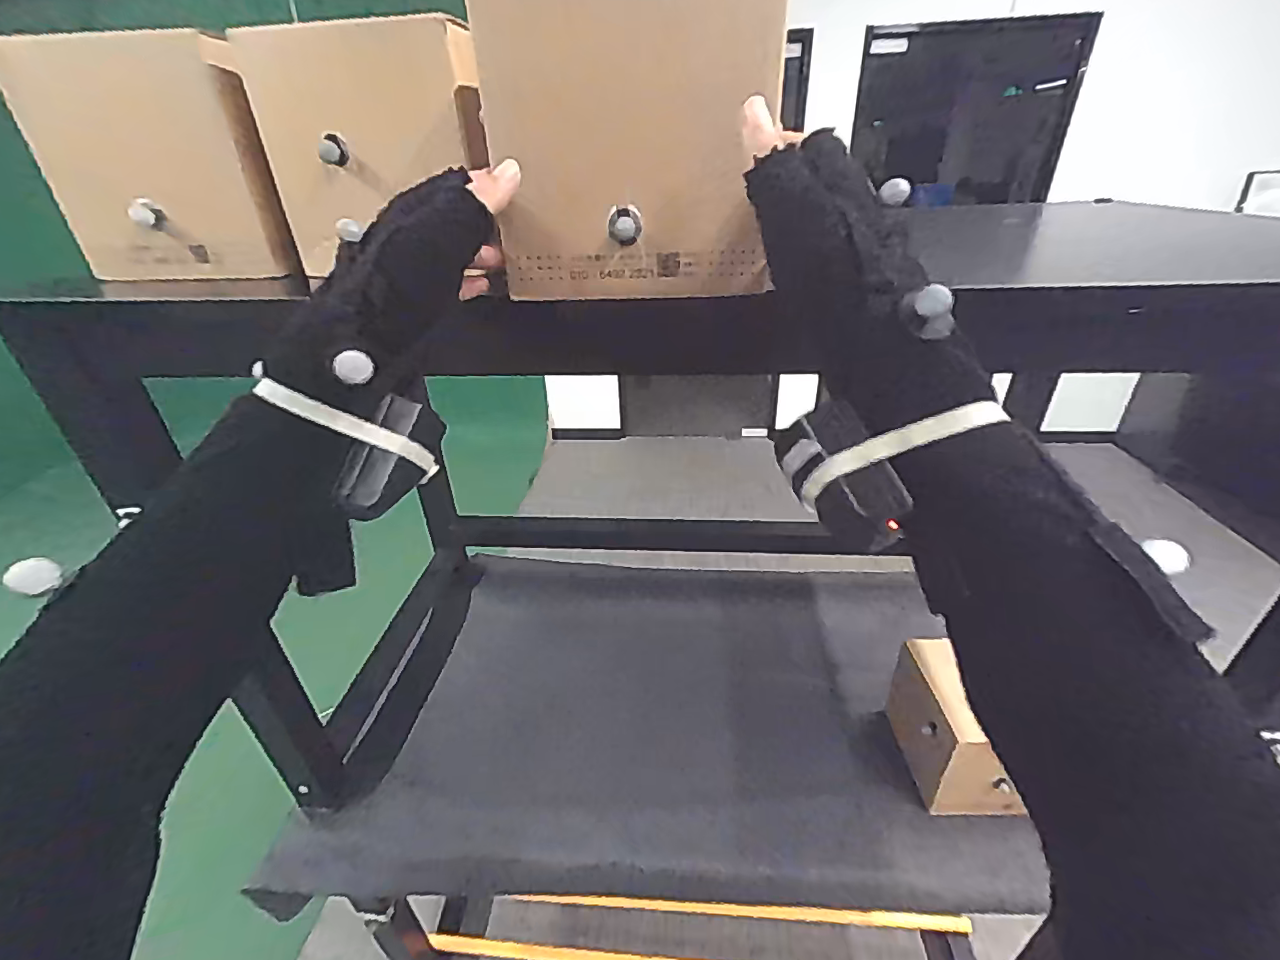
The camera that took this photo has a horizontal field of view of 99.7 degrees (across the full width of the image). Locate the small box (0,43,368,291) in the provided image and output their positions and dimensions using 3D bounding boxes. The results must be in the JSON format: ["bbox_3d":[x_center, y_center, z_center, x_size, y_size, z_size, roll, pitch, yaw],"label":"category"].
[{"bbox_3d":[-0.378,-0.280,0.497,0.168,0.176,0.179,0,32,3],"label":"small box"}]

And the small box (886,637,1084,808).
[{"bbox_3d":[0.488,0.356,0.798,0.168,0.176,0.179,-1,30,2],"label":"small box"}]
